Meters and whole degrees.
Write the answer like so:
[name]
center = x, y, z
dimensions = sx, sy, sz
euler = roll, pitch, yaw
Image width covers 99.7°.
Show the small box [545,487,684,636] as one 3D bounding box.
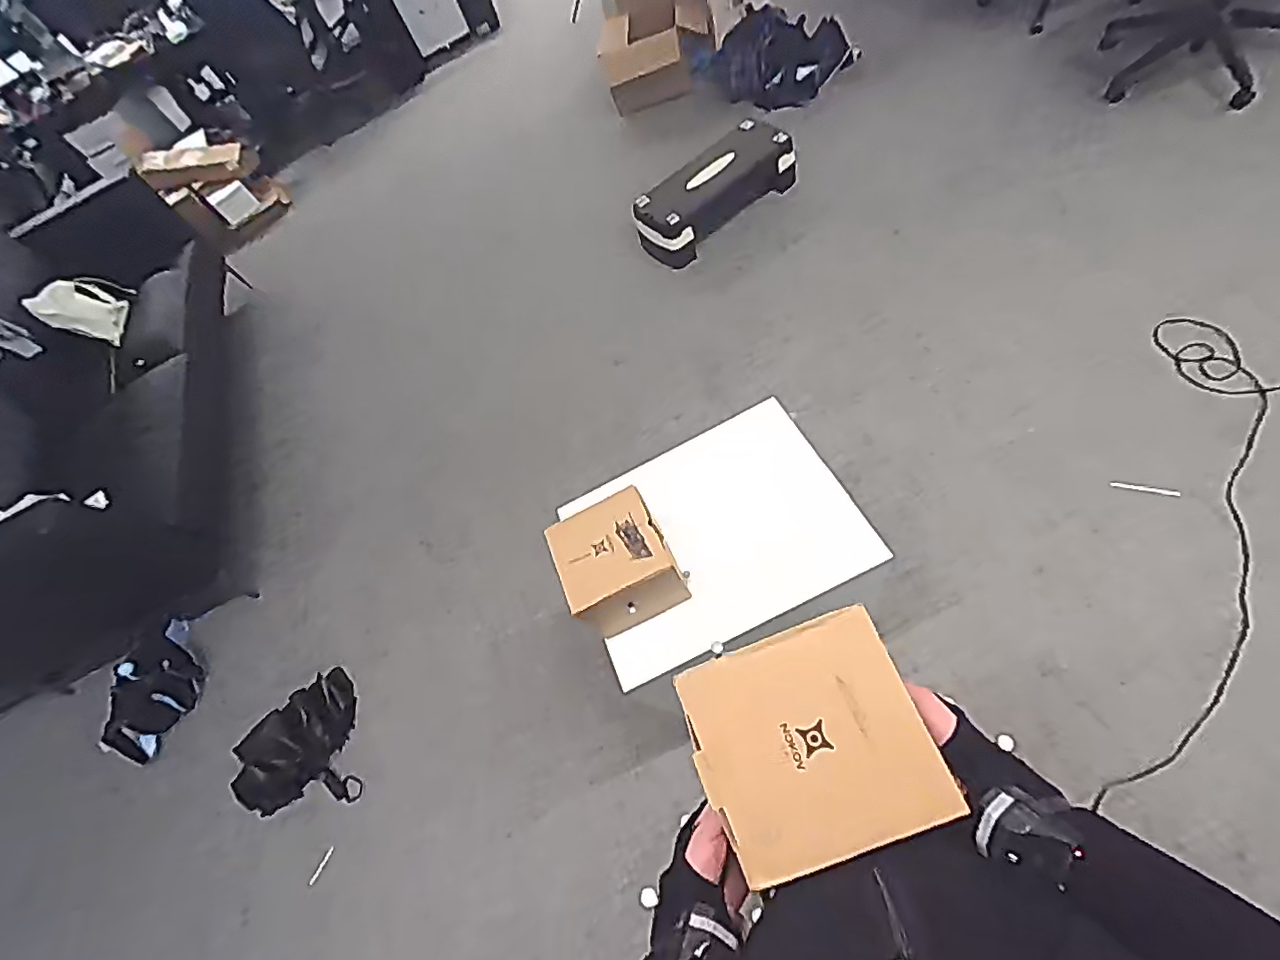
[small box]
center = -0.035, 0.147, 0.937
dimensions = 0.179, 0.176, 0.168
euler = -27, 57, 2
